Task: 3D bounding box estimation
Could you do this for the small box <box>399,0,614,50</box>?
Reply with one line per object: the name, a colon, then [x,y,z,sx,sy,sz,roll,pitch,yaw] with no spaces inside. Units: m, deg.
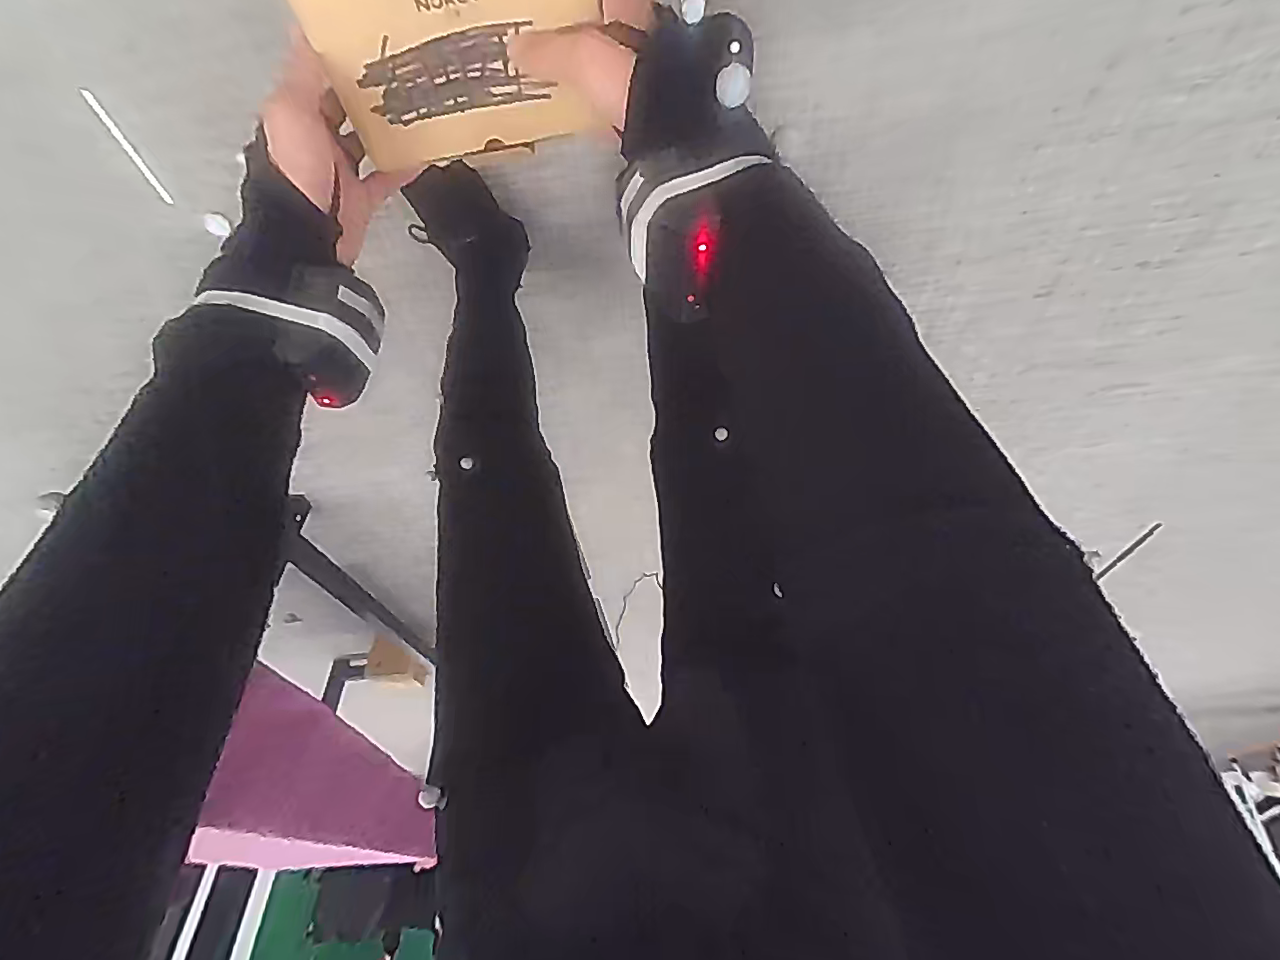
small box: [-0.108,-0.469,0.418,0.168,0.176,0.179,-3,144,0]
